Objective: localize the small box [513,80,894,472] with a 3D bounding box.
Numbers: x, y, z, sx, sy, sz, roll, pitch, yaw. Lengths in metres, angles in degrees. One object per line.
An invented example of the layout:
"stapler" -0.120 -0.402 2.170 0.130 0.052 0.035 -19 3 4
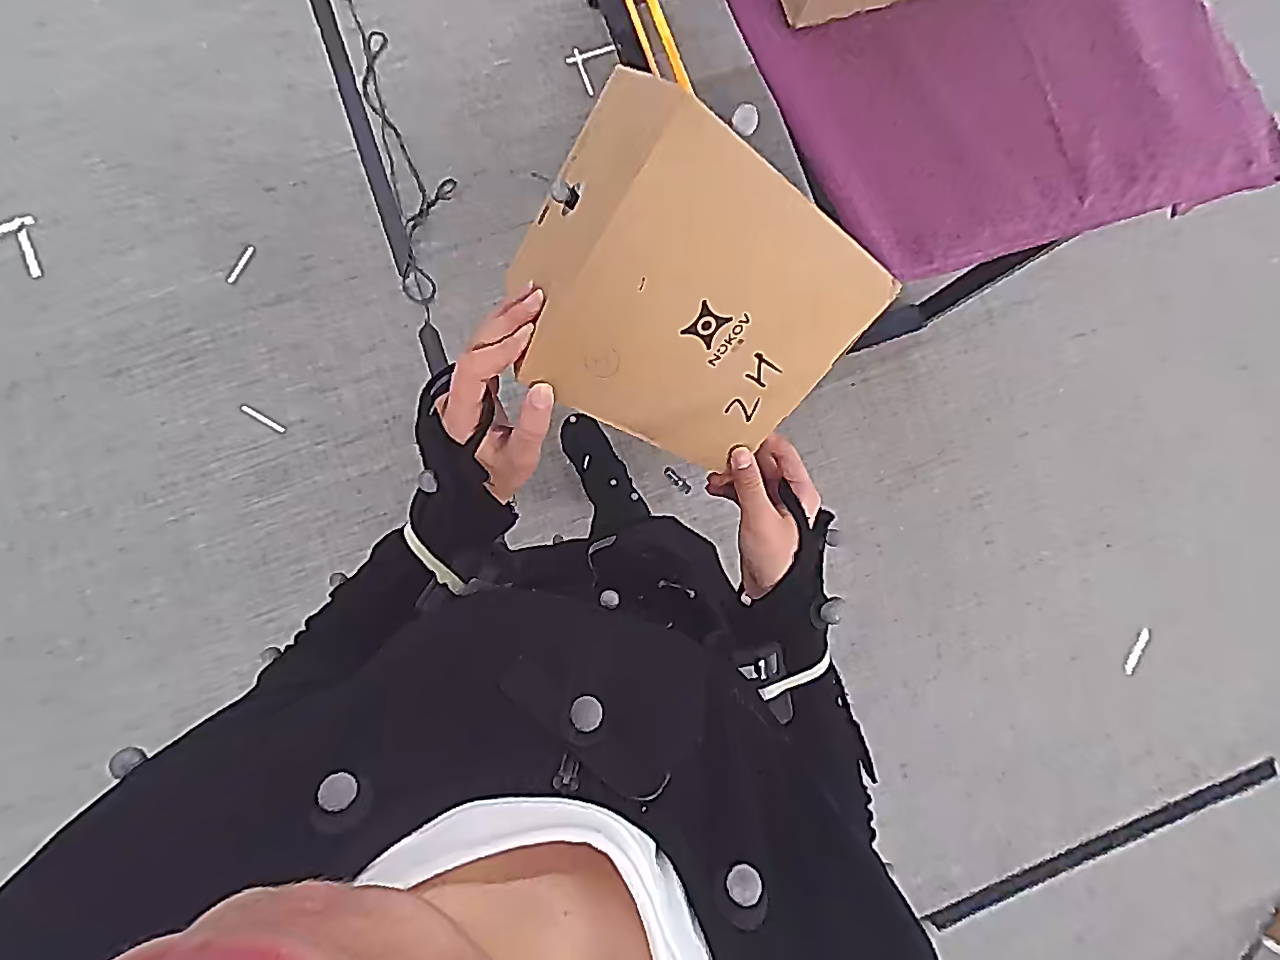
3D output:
"small box" 0.024 -0.140 0.377 0.179 0.176 0.168 22 121 -31
